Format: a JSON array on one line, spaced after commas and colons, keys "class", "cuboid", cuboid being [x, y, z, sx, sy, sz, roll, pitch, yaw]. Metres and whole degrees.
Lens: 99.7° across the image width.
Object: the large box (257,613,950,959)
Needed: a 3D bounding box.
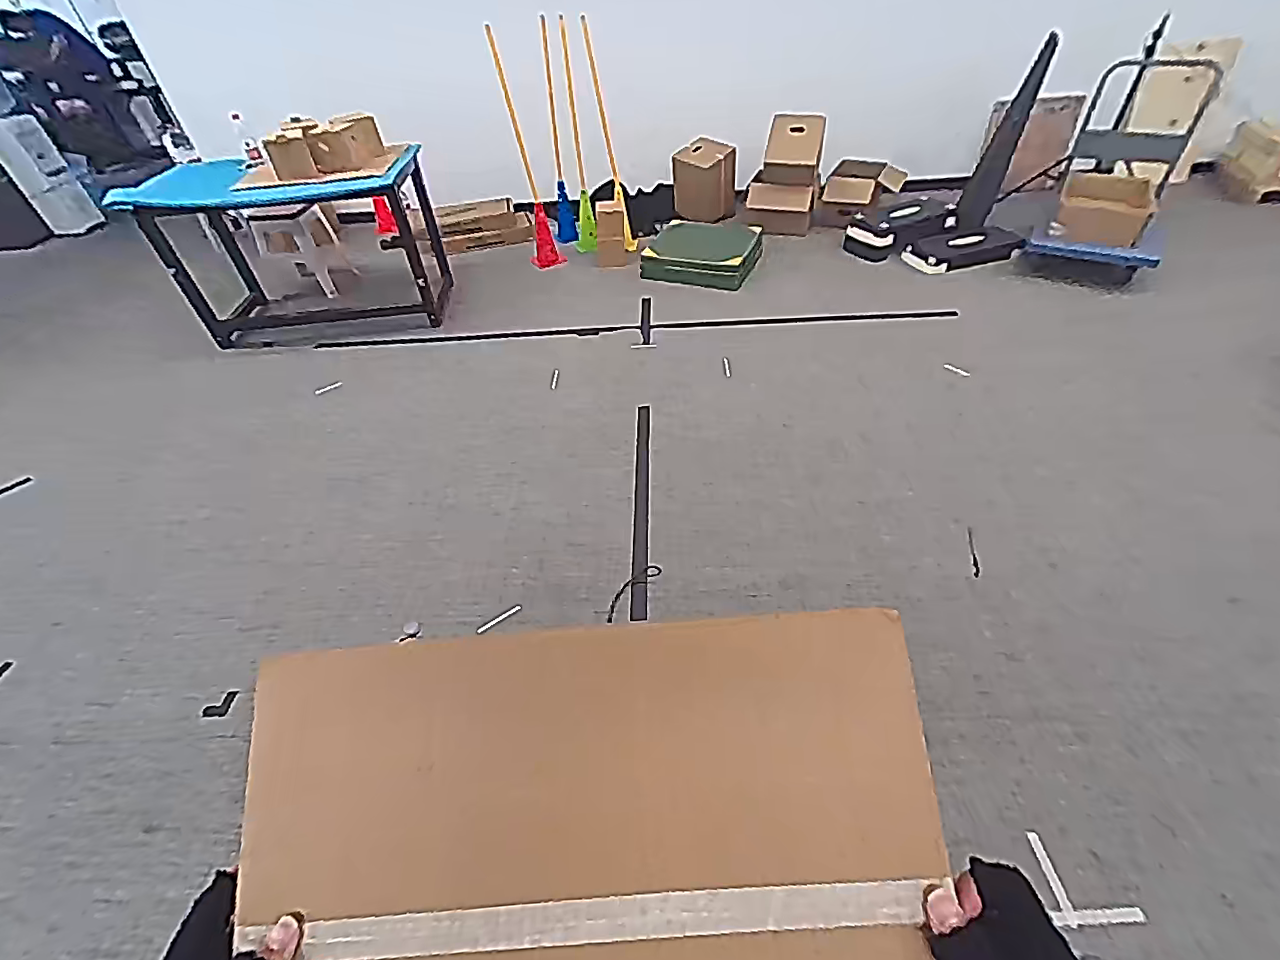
[{"class": "large box", "cuboid": [-0.021, 0.290, 0.457, 0.408, 0.320, 0.320, -5, 76, 2]}]
